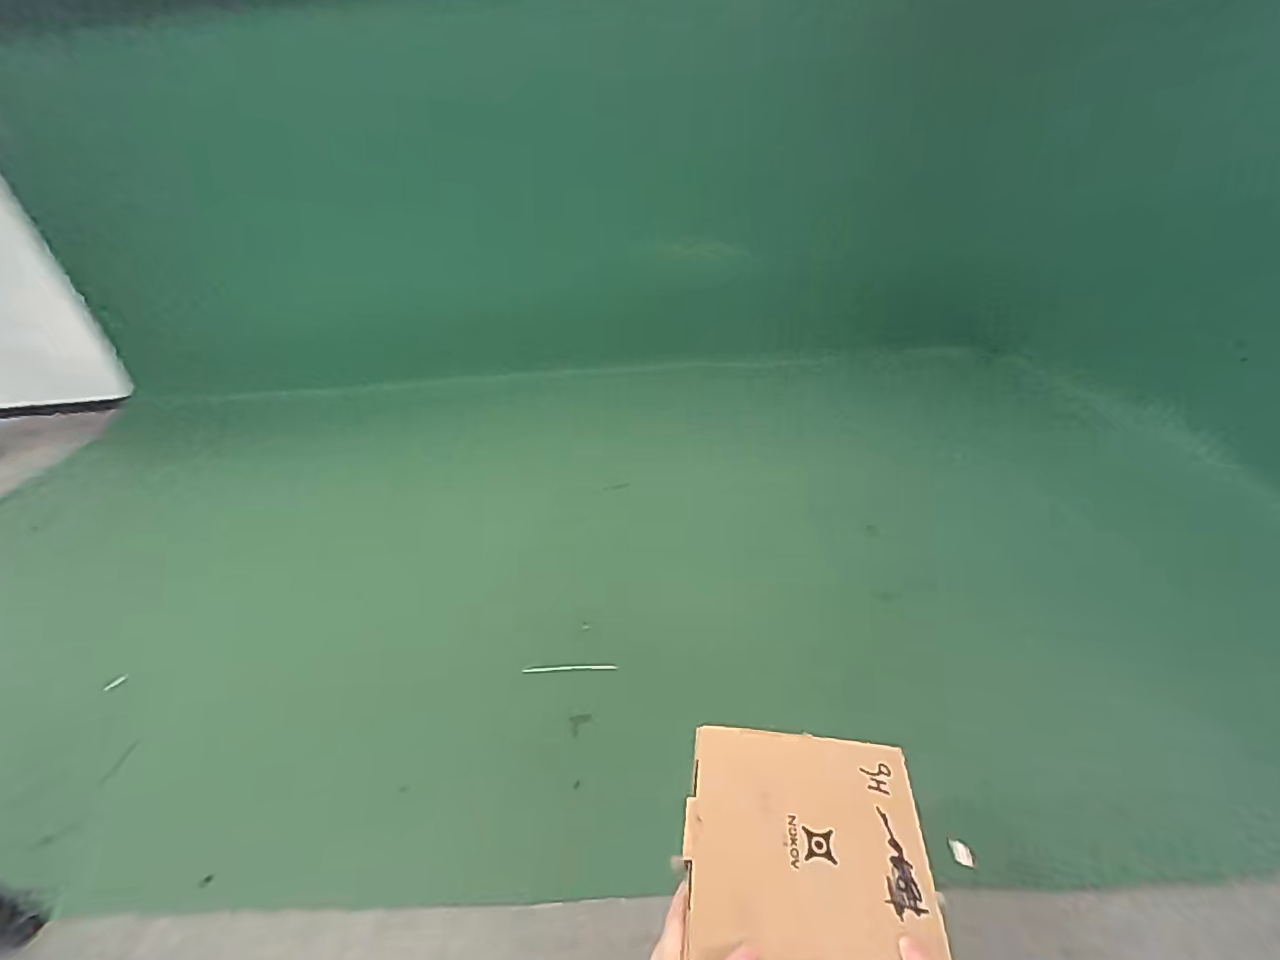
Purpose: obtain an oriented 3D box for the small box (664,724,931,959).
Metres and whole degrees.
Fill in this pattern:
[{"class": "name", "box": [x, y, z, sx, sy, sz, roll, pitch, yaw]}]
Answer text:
[{"class": "small box", "box": [0.116, 0.335, 0.459, 0.179, 0.176, 0.168, 3, 38, 7]}]
